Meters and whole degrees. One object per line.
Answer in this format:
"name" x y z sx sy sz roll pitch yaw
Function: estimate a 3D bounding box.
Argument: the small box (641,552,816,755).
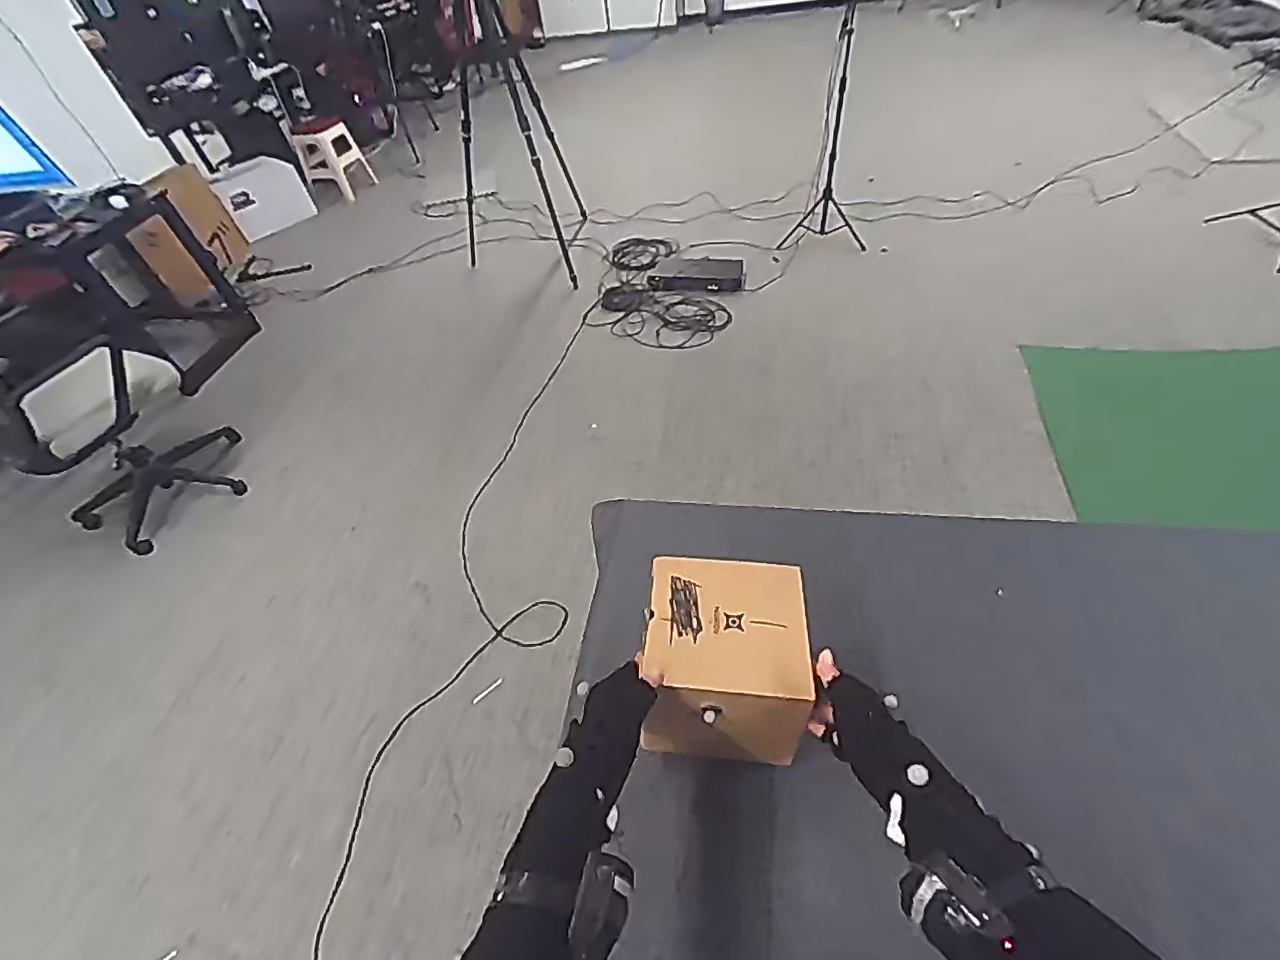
"small box" 0.099 0.207 0.644 0.179 0.176 0.168 4 44 6
